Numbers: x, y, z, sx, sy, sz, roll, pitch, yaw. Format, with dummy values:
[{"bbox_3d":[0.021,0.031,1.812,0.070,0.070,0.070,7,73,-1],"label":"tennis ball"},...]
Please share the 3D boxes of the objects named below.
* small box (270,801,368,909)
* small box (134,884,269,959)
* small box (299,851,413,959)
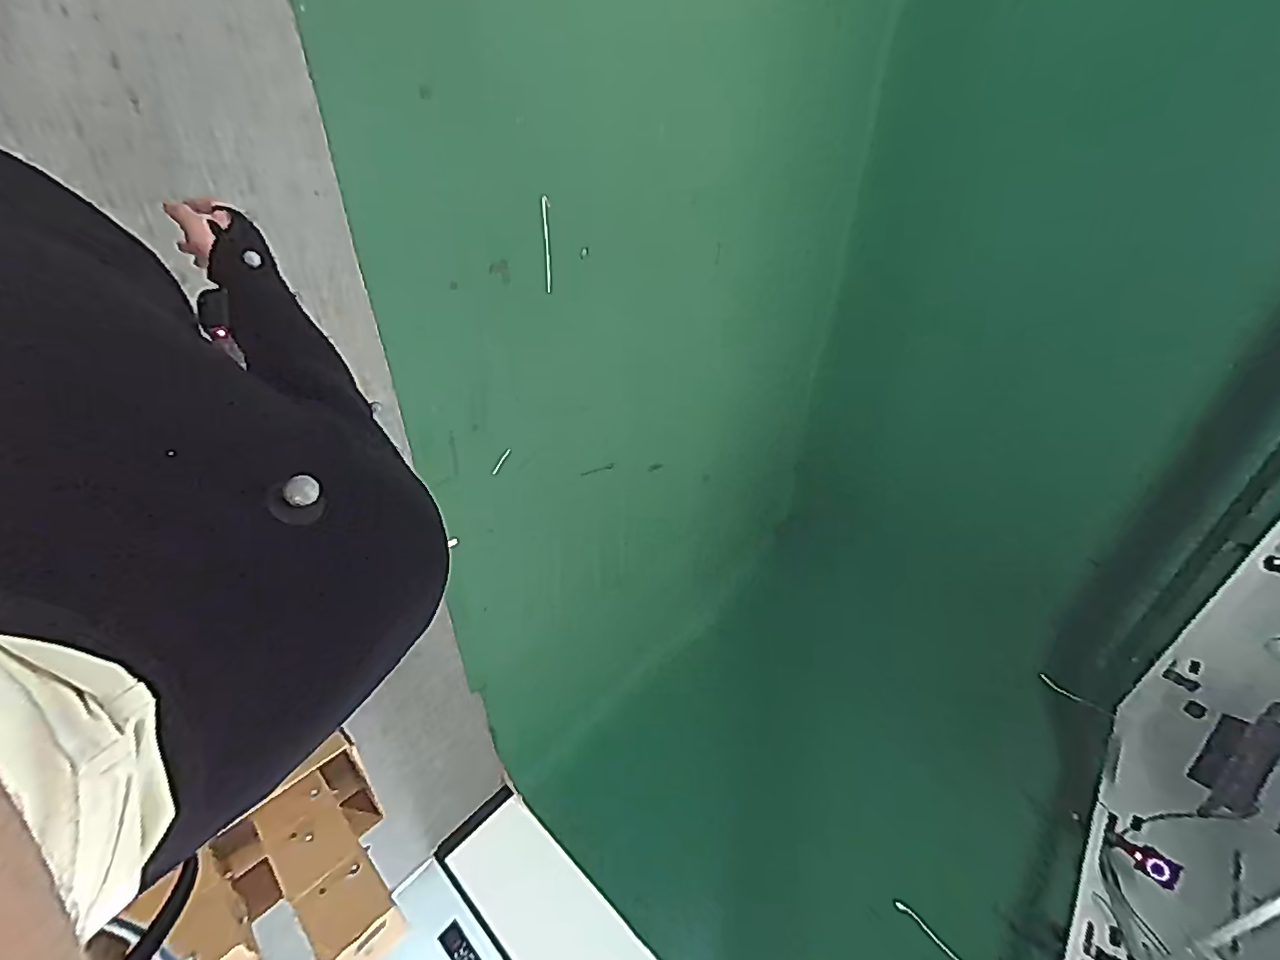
[{"bbox_3d":[-0.797,0.963,1.370,0.168,0.176,0.179,-30,136,-39],"label":"small box"},{"bbox_3d":[-0.976,1.064,1.207,0.179,0.176,0.168,-28,133,-39],"label":"small box"},{"bbox_3d":[-0.674,1.033,1.286,0.168,0.176,0.179,-31,137,-37],"label":"small box"}]
